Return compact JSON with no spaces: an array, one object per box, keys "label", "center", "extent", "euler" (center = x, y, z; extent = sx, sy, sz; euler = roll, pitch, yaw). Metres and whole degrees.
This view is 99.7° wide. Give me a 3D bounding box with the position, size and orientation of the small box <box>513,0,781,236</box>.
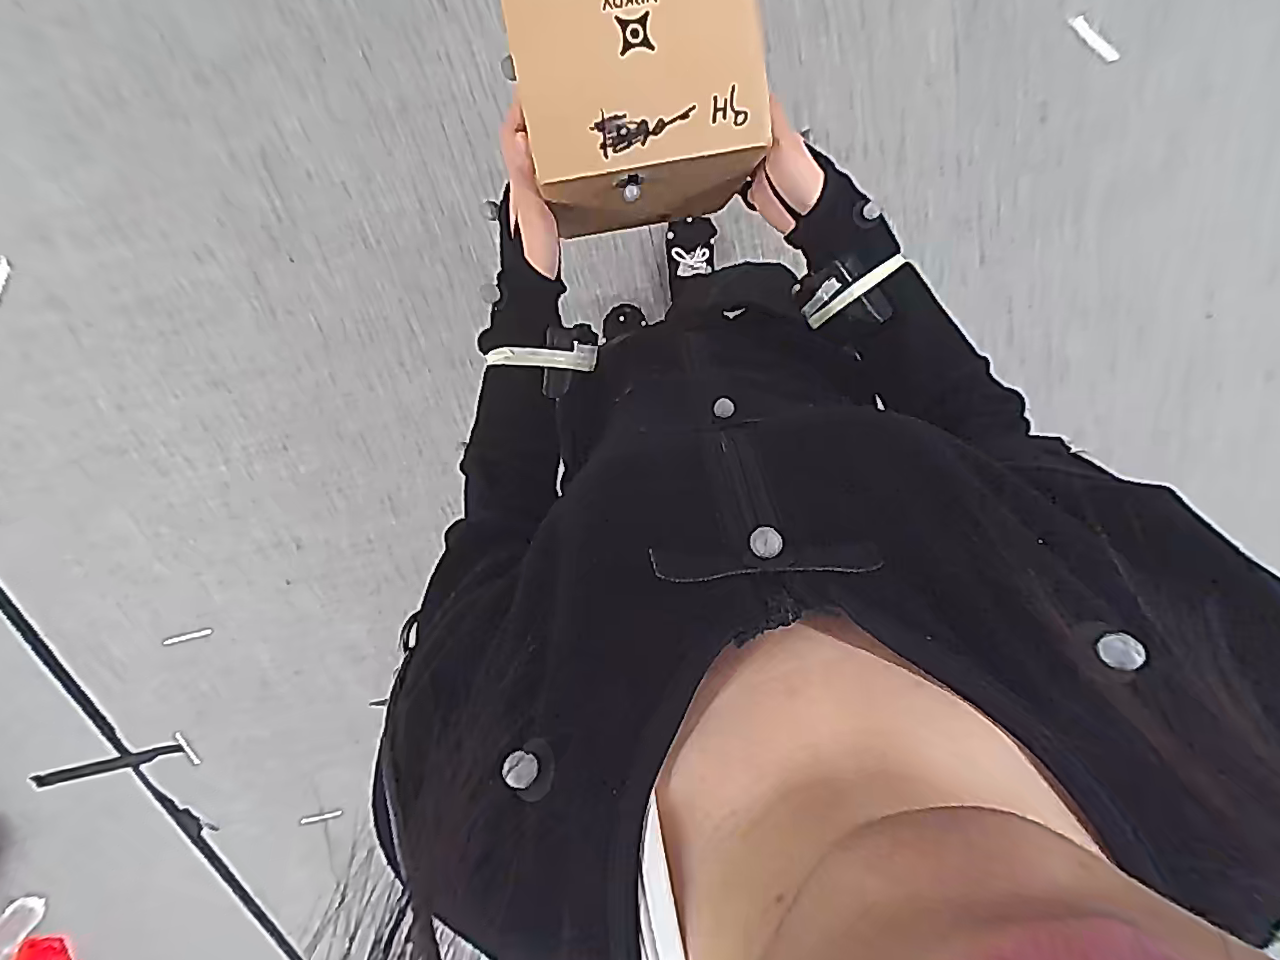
[{"label":"small box","center":[-0.004,-0.315,0.425],"extent":[0.168,0.176,0.179],"euler":[-11,102,-2]}]
